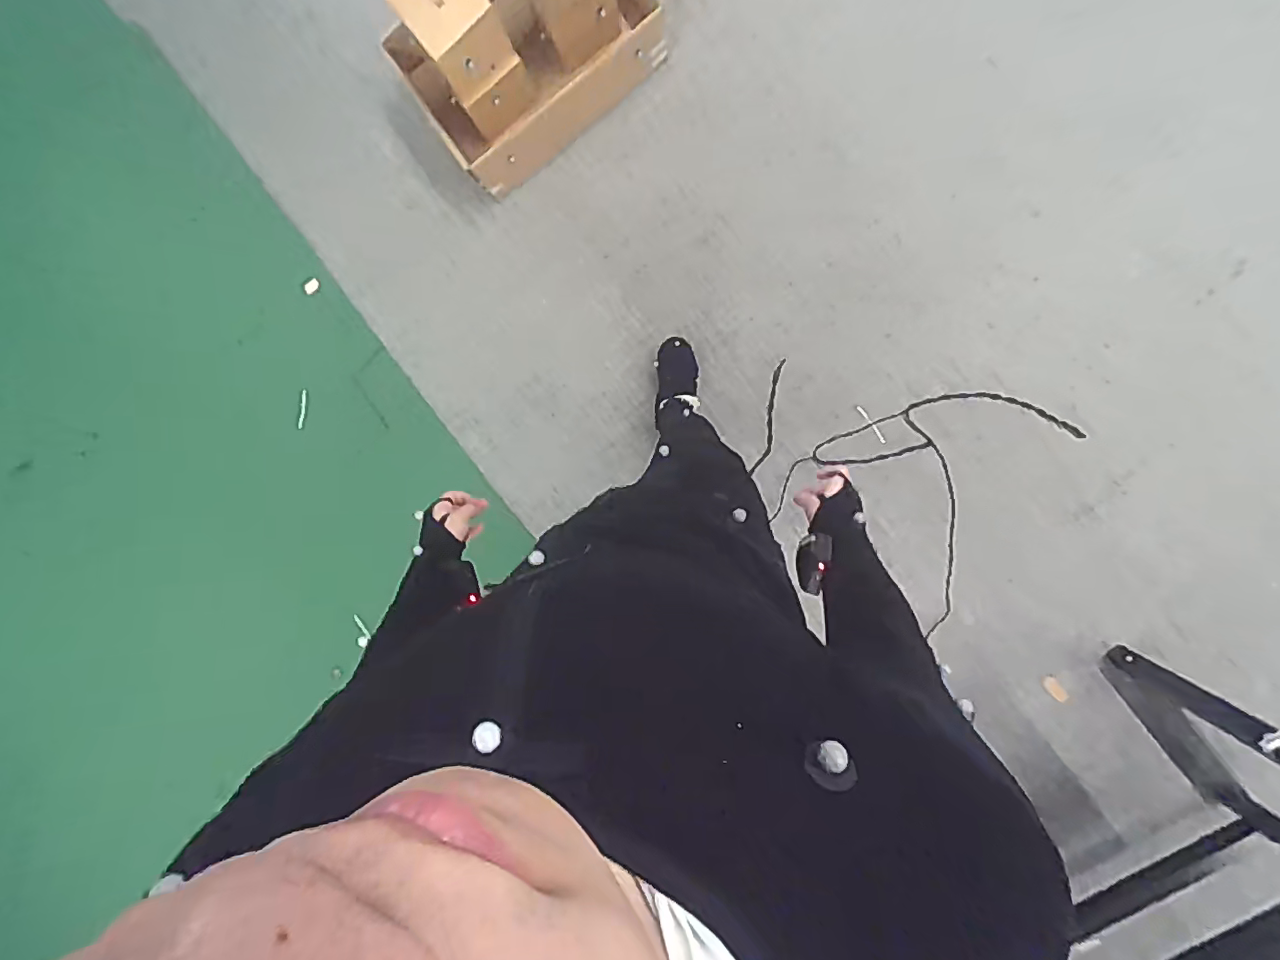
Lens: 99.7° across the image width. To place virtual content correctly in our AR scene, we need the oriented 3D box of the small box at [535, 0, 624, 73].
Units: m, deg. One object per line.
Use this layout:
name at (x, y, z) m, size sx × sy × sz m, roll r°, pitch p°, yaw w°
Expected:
small box at (-0.153, -1.178, 1.340) m, size 0.179 × 0.176 × 0.168 m, roll -31°, pitch 93°, yaw 10°

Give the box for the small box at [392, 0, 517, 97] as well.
small box at (-0.407, -1.018, 1.223) m, size 0.168 × 0.176 × 0.179 m, roll -38°, pitch 91°, yaw 8°

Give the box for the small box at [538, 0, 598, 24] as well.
small box at (-0.176, -1.158, 1.180) m, size 0.168 × 0.176 × 0.179 m, roll -31°, pitch 93°, yaw 8°
